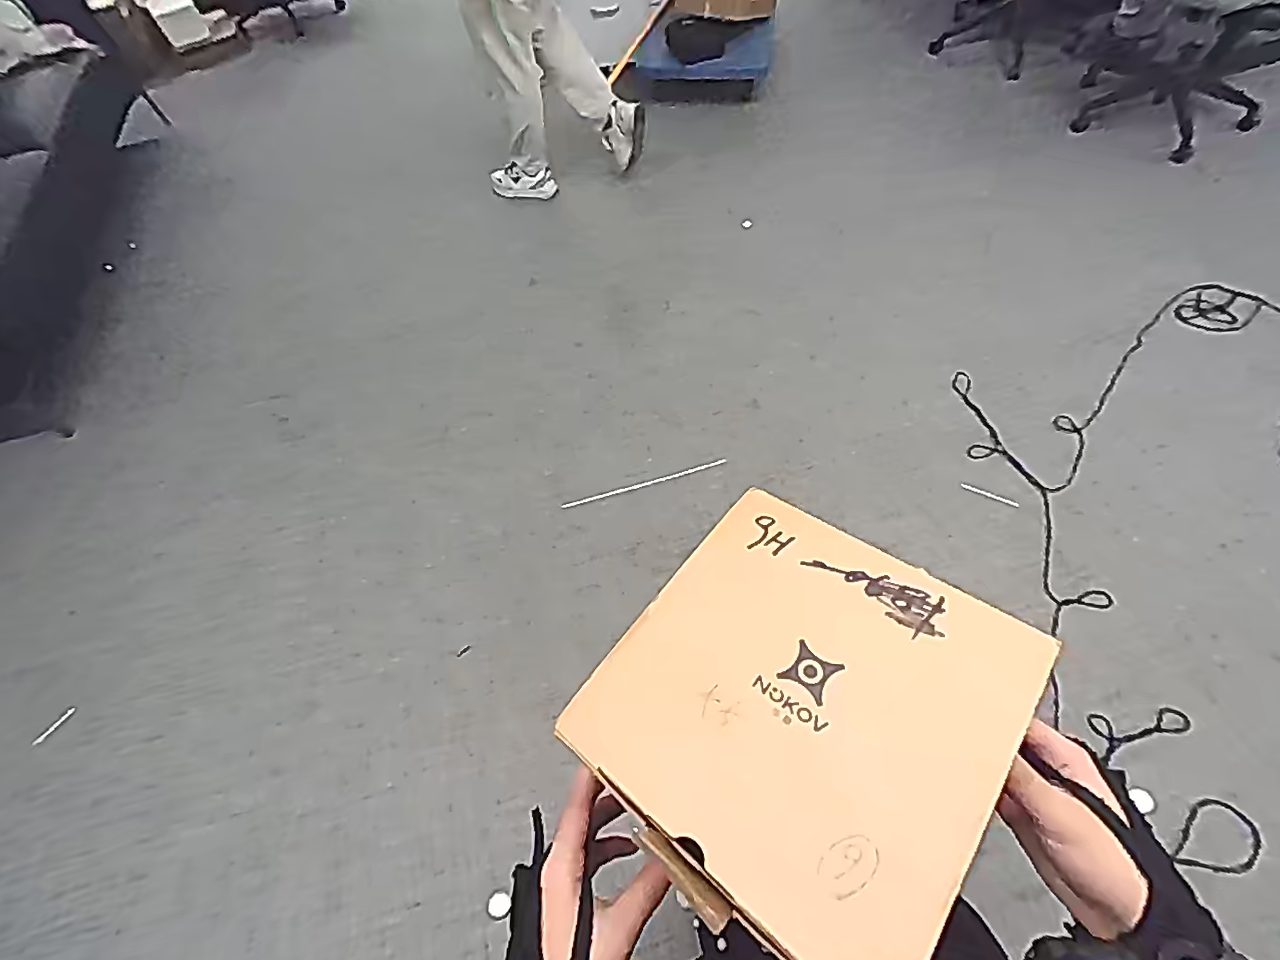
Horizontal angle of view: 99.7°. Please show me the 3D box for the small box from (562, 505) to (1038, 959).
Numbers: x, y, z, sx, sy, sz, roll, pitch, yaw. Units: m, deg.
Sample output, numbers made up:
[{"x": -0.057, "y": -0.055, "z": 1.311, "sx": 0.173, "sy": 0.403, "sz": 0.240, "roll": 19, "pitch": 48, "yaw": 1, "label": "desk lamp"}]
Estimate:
[{"x": 0.088, "y": 0.155, "z": 0.322, "sx": 0.168, "sy": 0.176, "sz": 0.179, "roll": 29, "pitch": 62, "yaw": 30, "label": "small box"}]
